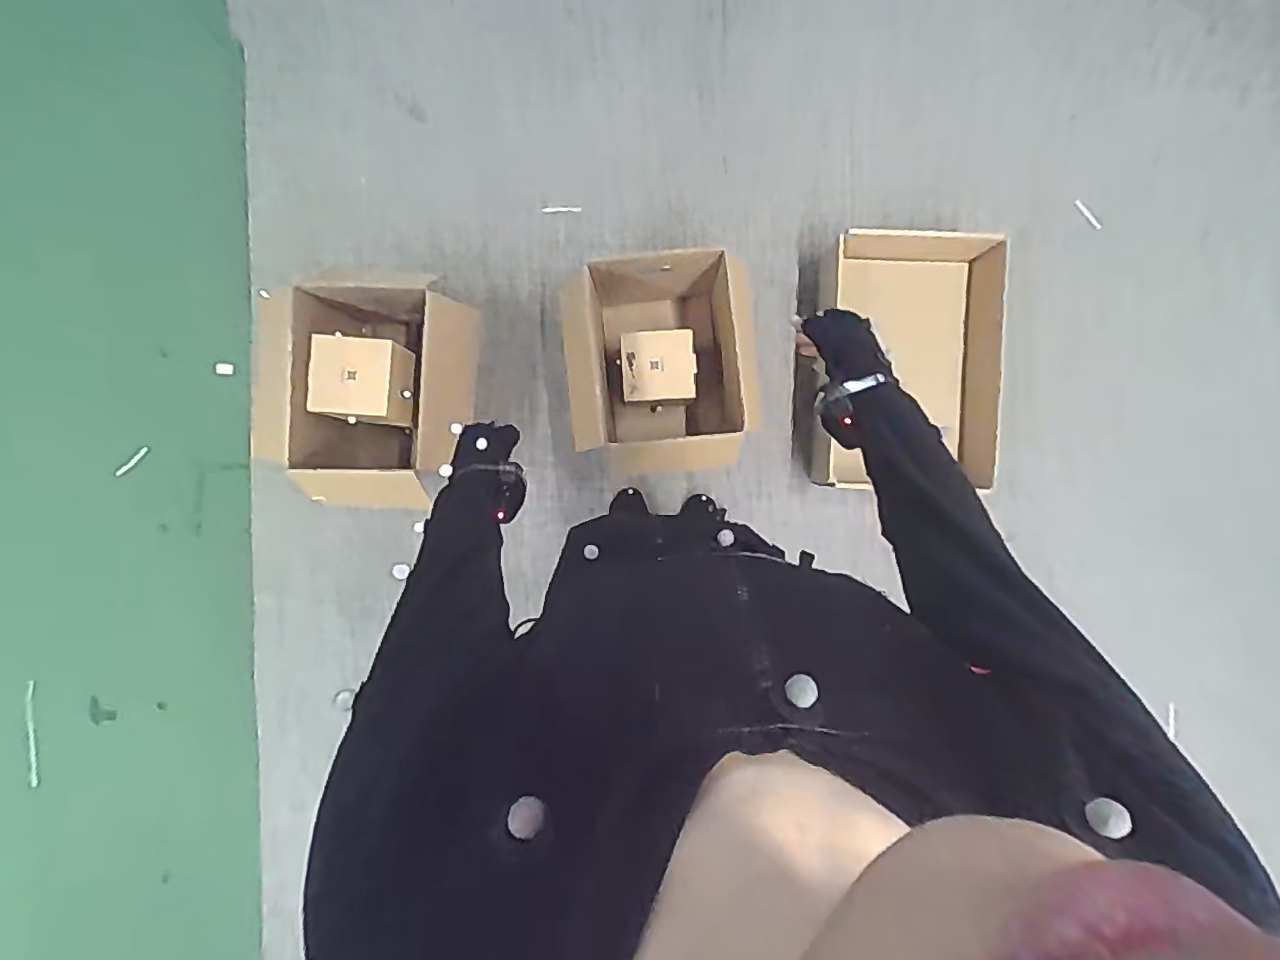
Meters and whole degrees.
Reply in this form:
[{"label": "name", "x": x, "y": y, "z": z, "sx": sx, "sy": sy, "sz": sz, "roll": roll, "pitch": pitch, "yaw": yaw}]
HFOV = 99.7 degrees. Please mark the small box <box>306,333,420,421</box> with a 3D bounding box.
[{"label": "small box", "x": -0.618, "y": -0.226, "z": 1.227, "sx": 0.179, "sy": 0.176, "sz": 0.168, "roll": 4, "pitch": 90, "yaw": 0}]
